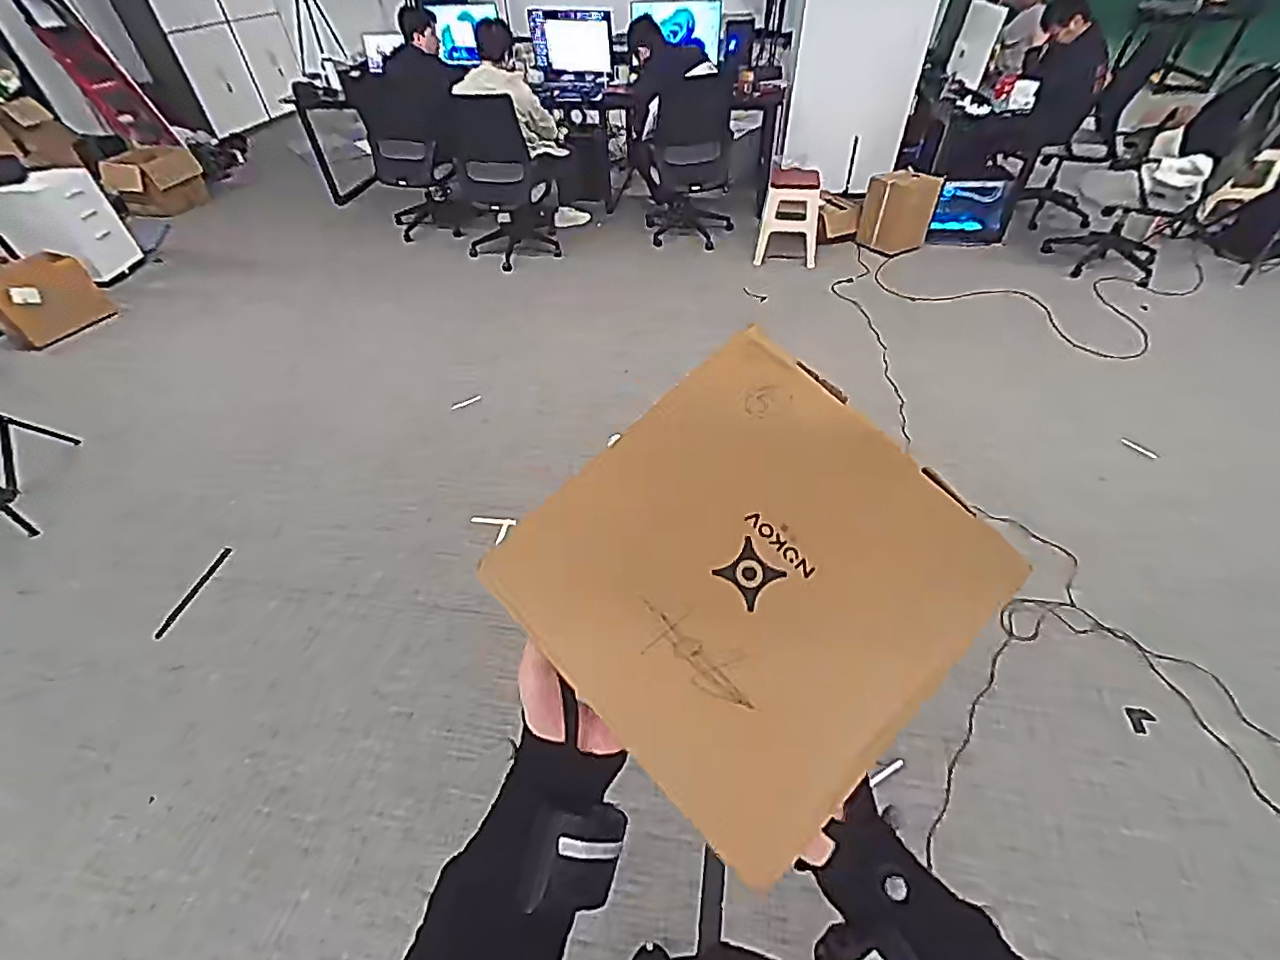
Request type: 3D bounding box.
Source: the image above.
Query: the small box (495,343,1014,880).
[{"bbox_3d":[0.050,0.064,0.315,0.179,0.176,0.168,-42,78,-11],"label":"small box"}]
